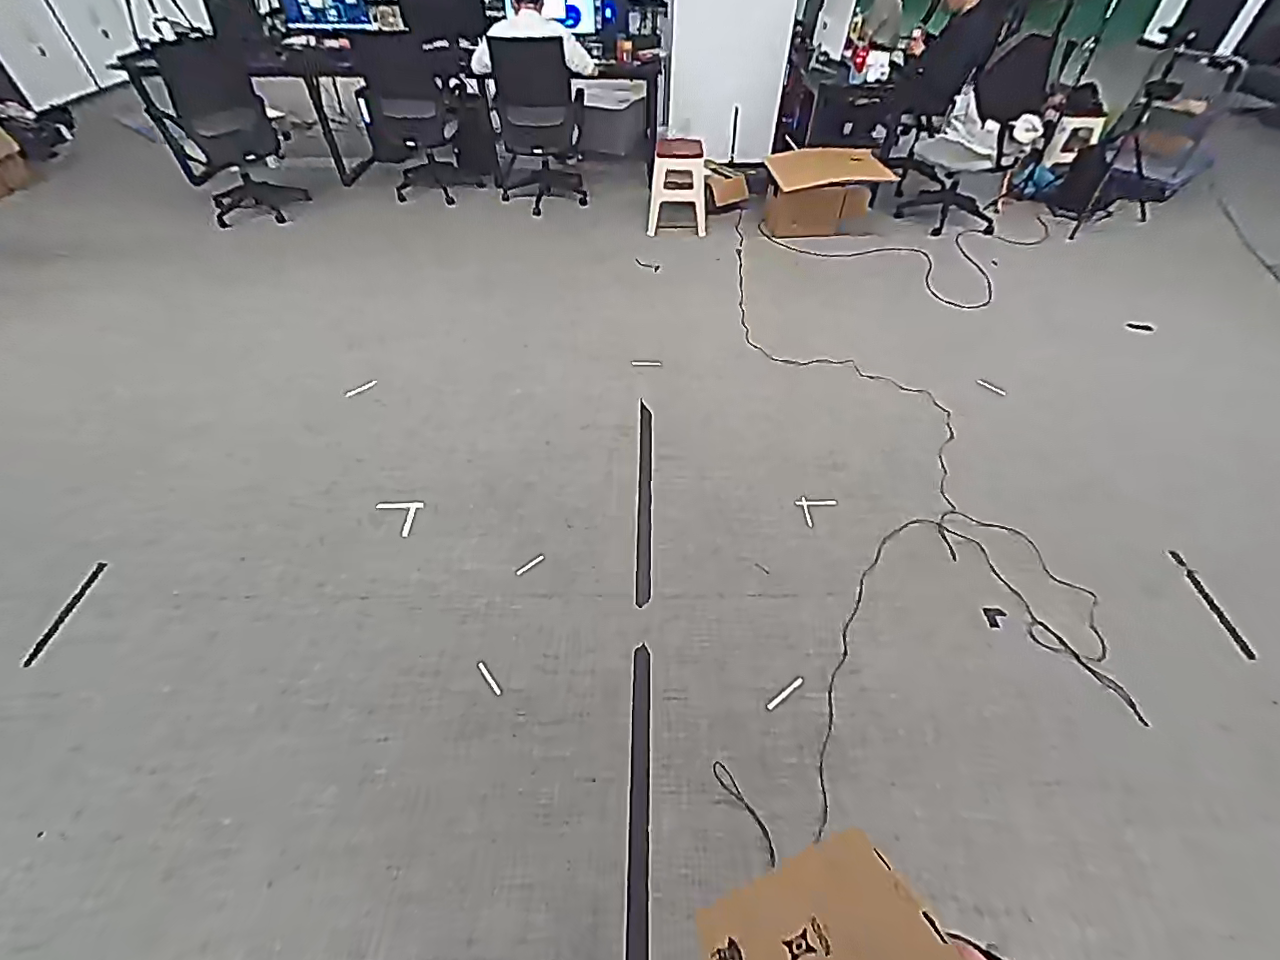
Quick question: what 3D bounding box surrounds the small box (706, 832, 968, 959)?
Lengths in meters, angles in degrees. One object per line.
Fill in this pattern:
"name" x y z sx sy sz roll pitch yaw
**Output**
"small box" 0.177 0.442 0.431 0.179 0.168 0.176 -25 89 -5
